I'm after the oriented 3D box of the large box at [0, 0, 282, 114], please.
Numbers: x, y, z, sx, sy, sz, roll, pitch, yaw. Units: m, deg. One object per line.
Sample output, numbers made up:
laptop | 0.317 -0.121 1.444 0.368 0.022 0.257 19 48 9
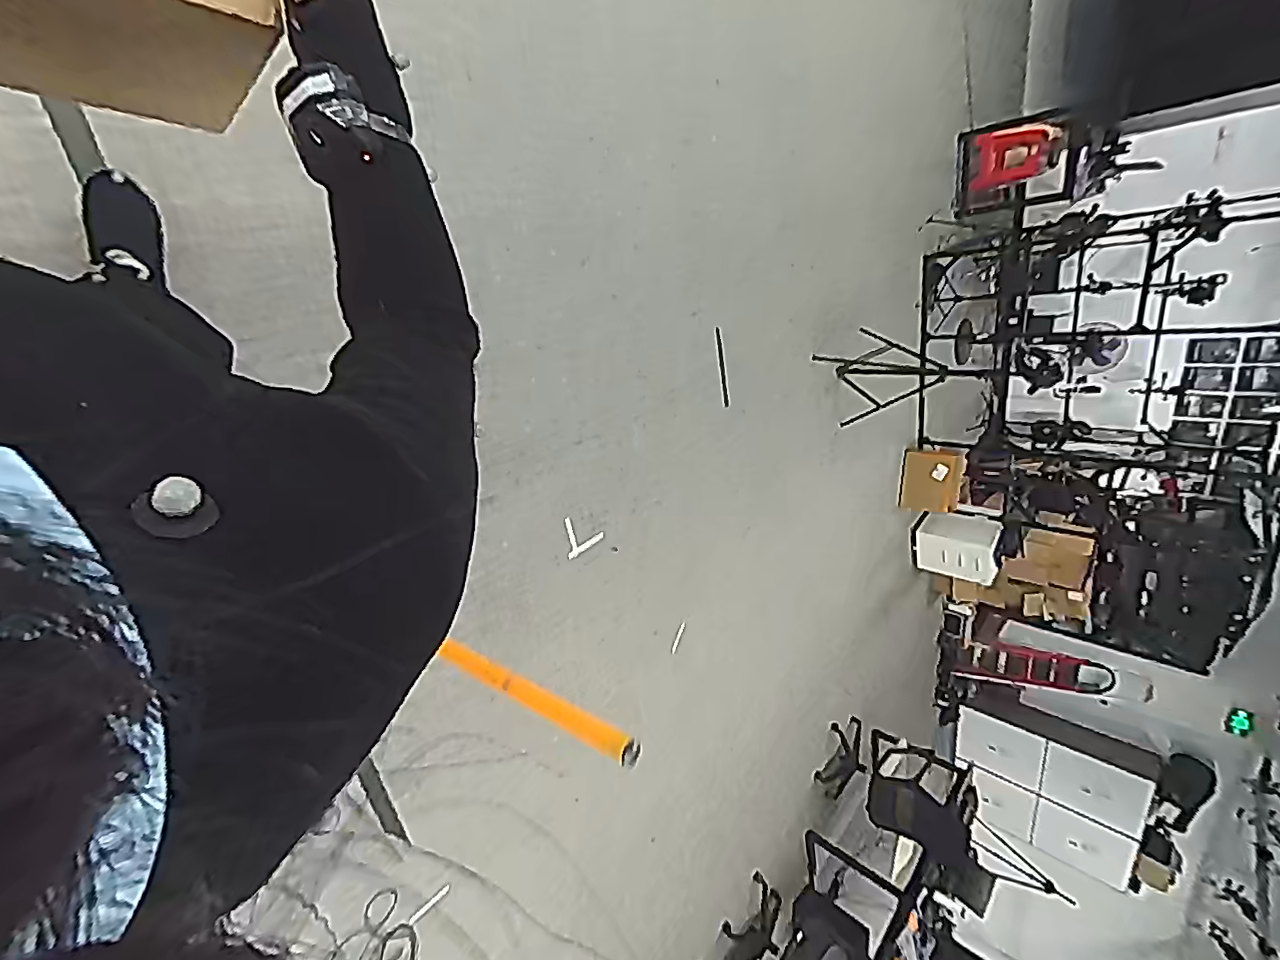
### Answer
large box | -0.510 -0.487 0.339 0.408 0.320 0.320 -13 110 -41
